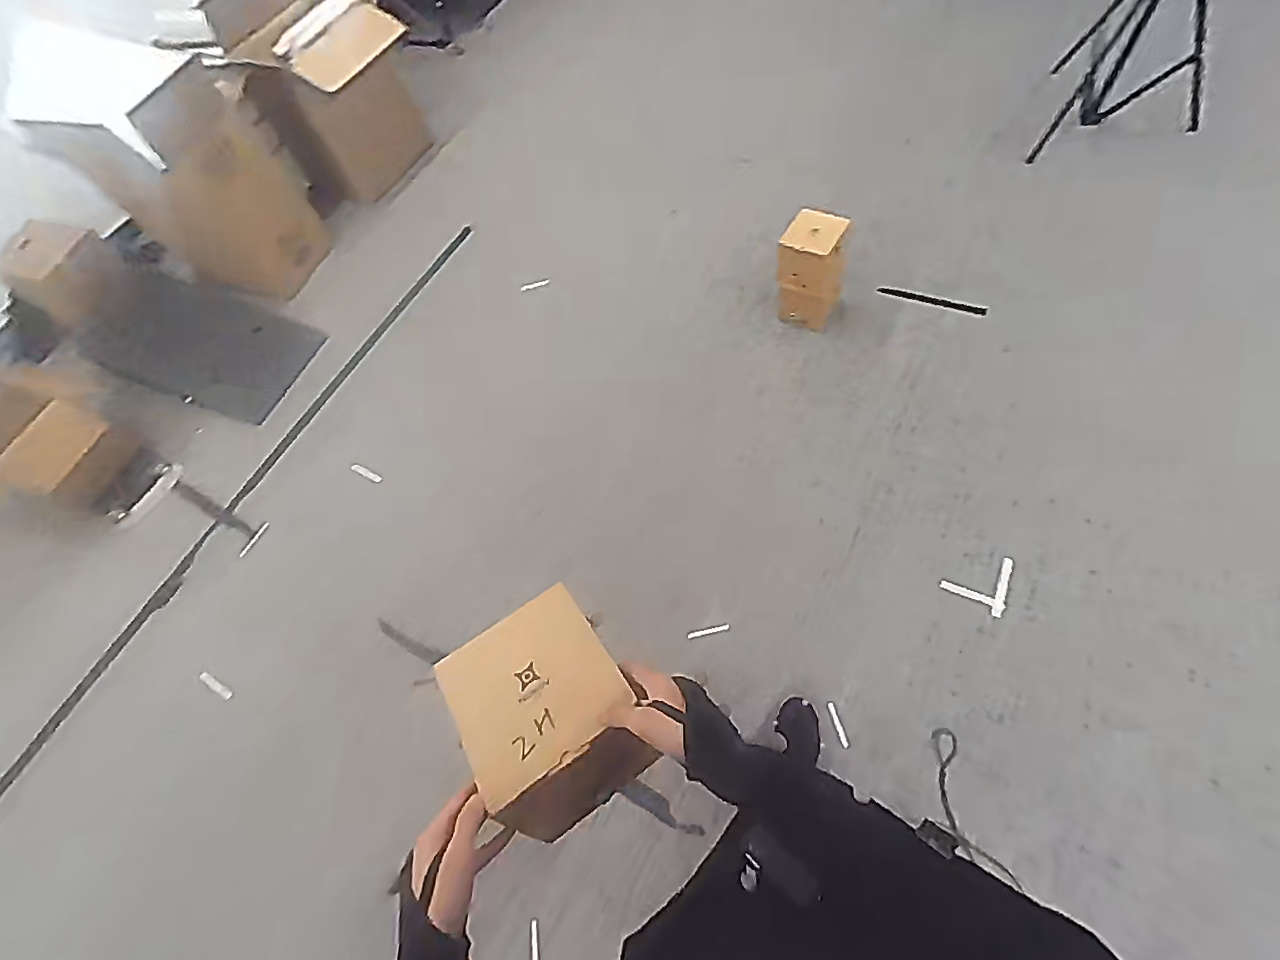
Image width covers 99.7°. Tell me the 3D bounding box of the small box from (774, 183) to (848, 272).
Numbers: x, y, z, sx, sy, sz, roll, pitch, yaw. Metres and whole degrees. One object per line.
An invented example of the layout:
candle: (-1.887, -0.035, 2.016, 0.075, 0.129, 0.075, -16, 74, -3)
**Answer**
small box: (0.540, -0.810, 1.736, 0.168, 0.176, 0.179, 28, 72, 22)

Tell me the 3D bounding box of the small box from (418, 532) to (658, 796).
small box: (-0.101, 0.195, 0.573, 0.168, 0.176, 0.179, -32, 51, -13)

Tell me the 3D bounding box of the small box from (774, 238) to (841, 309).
small box: (0.574, -0.731, 1.874, 0.168, 0.176, 0.179, 25, 70, 21)
